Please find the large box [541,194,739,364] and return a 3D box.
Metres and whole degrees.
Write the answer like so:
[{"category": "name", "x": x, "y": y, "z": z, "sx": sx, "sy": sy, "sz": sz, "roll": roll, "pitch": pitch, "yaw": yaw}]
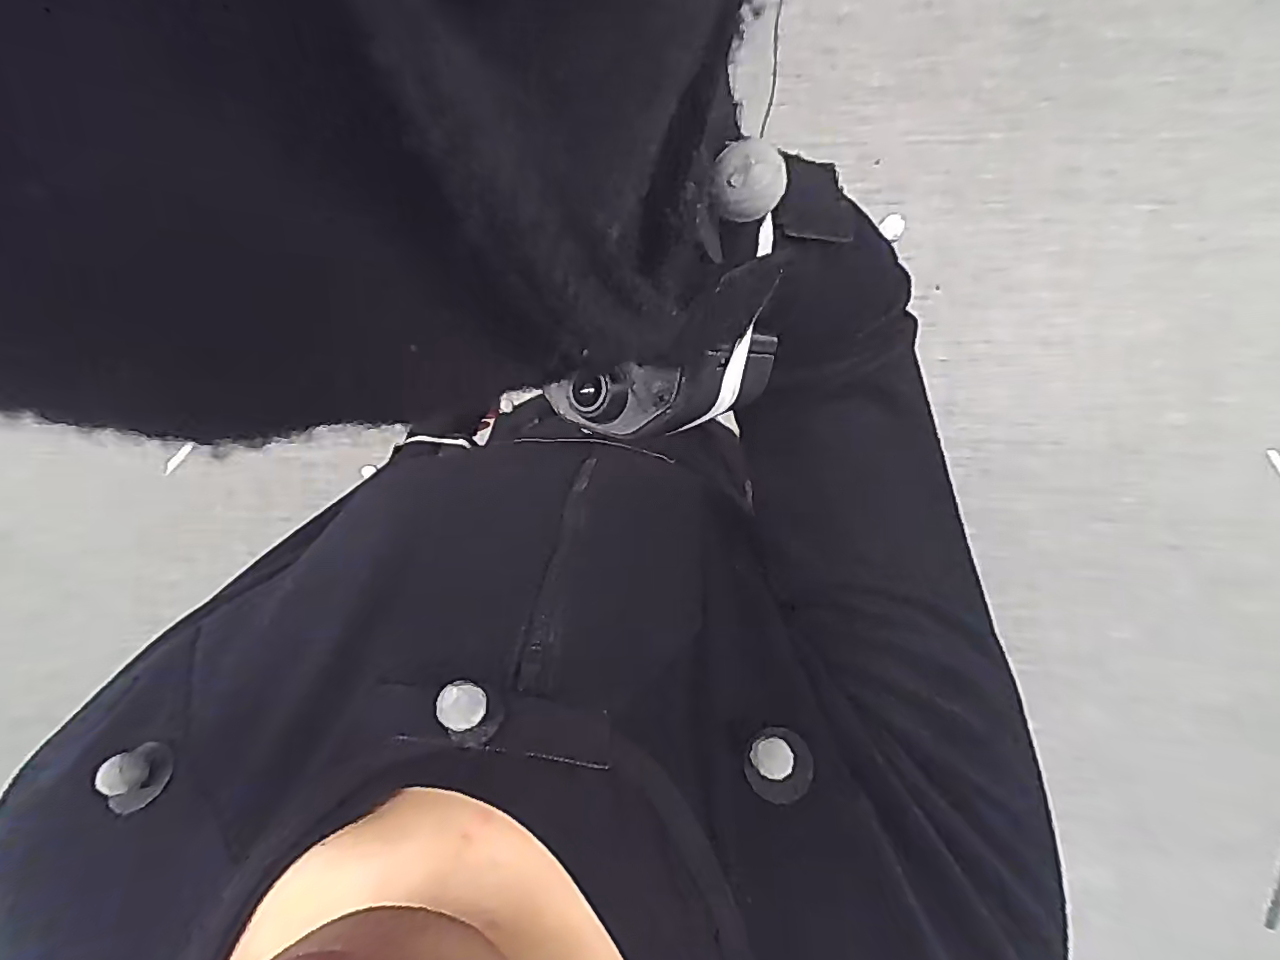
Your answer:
[{"category": "large box", "x": 0.007, "y": -0.436, "z": 1.249, "sx": 0.408, "sy": 0.320, "sz": 0.320, "roll": 0, "pitch": 101, "yaw": 3}]
